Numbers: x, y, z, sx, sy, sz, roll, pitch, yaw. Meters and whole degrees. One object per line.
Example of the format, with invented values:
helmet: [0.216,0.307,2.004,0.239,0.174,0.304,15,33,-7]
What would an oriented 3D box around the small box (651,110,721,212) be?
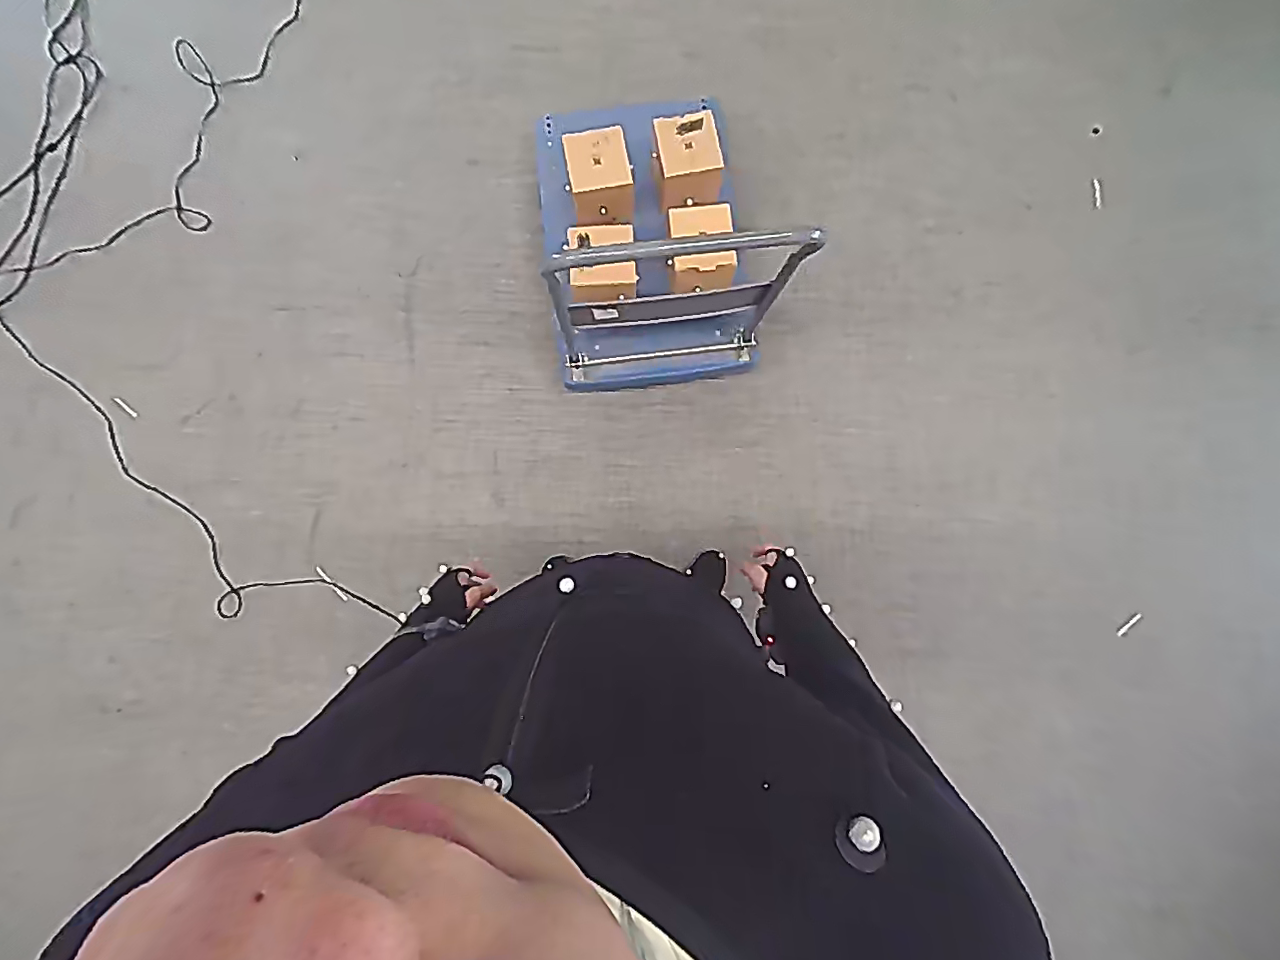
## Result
small box: [0.125,-0.908,1.549,0.168,0.176,0.179,-11,84,-1]

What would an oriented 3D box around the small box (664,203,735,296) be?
small box: [0.161,-0.642,1.518,0.168,0.176,0.179,-6,83,-1]

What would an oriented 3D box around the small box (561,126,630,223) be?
small box: [-0.122,-0.859,1.542,0.168,0.176,0.179,-11,83,-3]
